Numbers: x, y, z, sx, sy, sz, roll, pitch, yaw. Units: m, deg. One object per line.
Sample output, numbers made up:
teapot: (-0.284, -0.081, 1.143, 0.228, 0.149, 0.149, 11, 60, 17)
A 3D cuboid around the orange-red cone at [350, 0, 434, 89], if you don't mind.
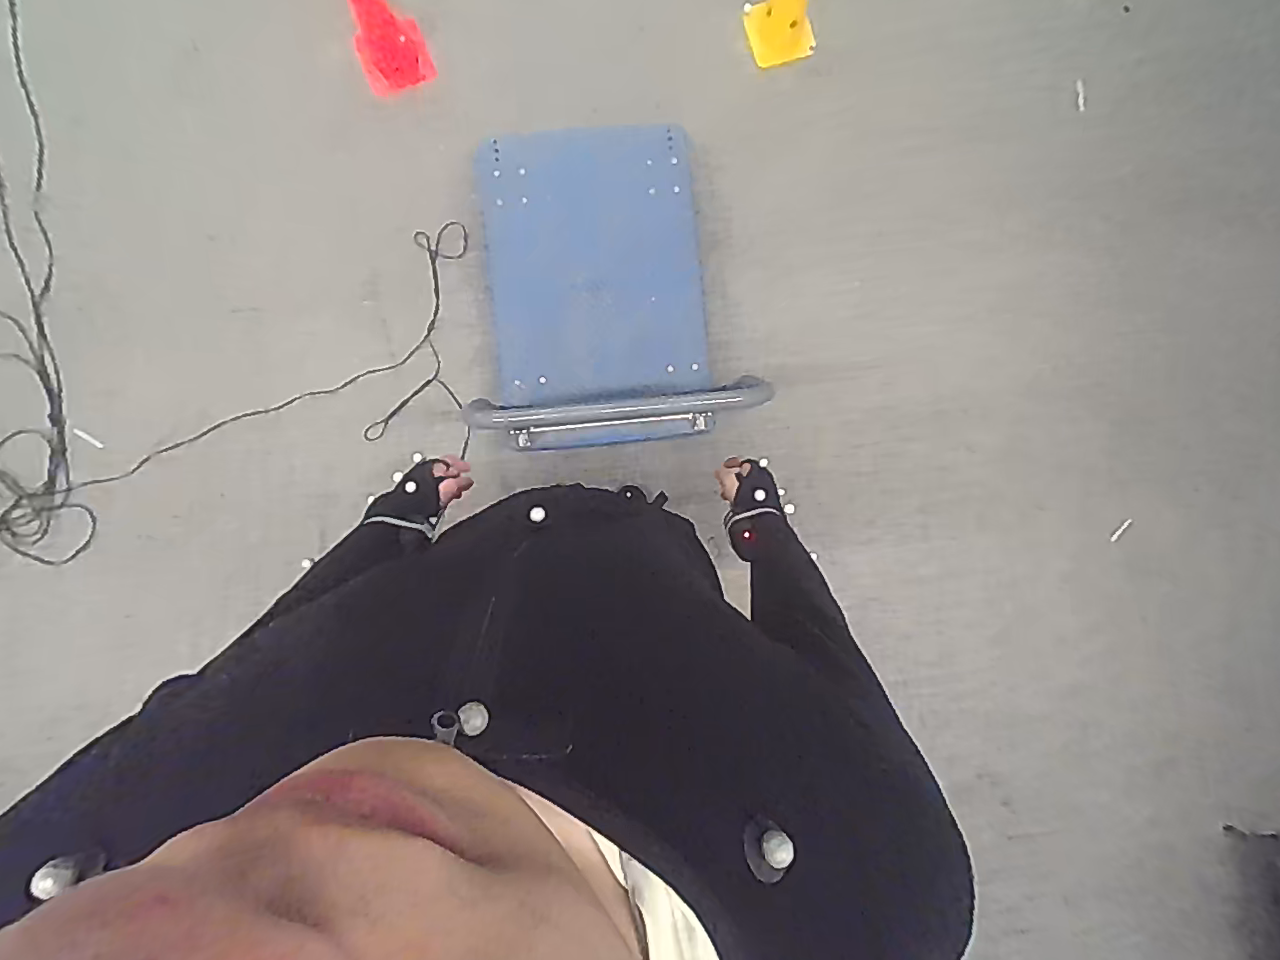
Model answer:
orange-red cone: (-0.731, -1.290, 1.452, 0.199, 0.360, 0.198, -21, 90, -2)
